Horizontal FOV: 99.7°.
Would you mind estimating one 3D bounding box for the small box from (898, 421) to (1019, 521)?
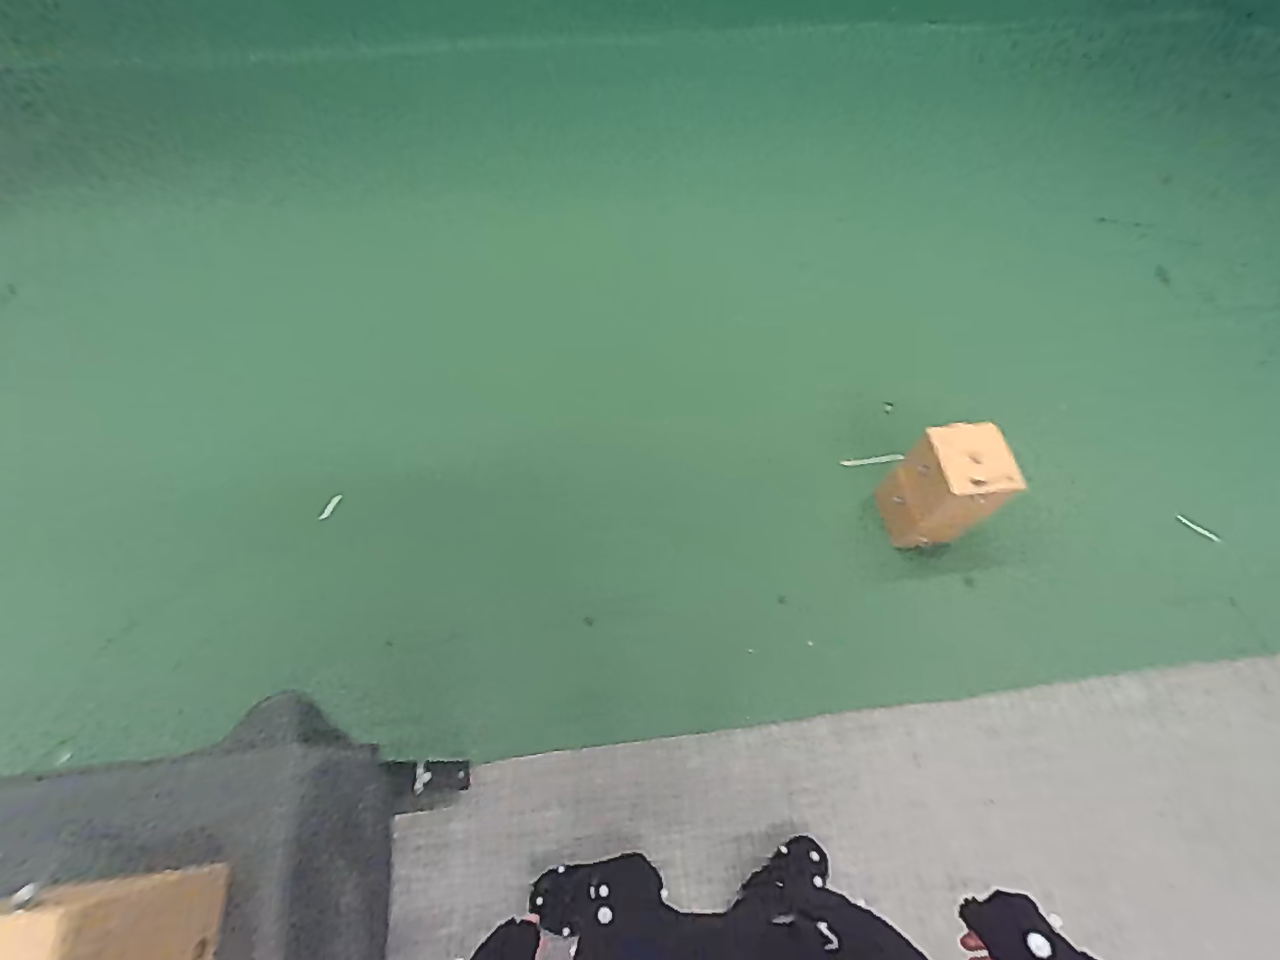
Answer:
[{"bbox_3d":[0.746,-0.019,1.294,0.168,0.176,0.179,-6,62,-3],"label":"small box"}]

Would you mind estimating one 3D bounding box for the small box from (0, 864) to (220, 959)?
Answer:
[{"bbox_3d":[-0.476,0.415,0.414,0.179,0.176,0.168,-7,63,-2],"label":"small box"}]

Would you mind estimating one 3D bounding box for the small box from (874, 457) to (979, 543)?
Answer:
[{"bbox_3d":[0.742,0.049,1.422,0.168,0.176,0.179,-5,63,-1],"label":"small box"}]
